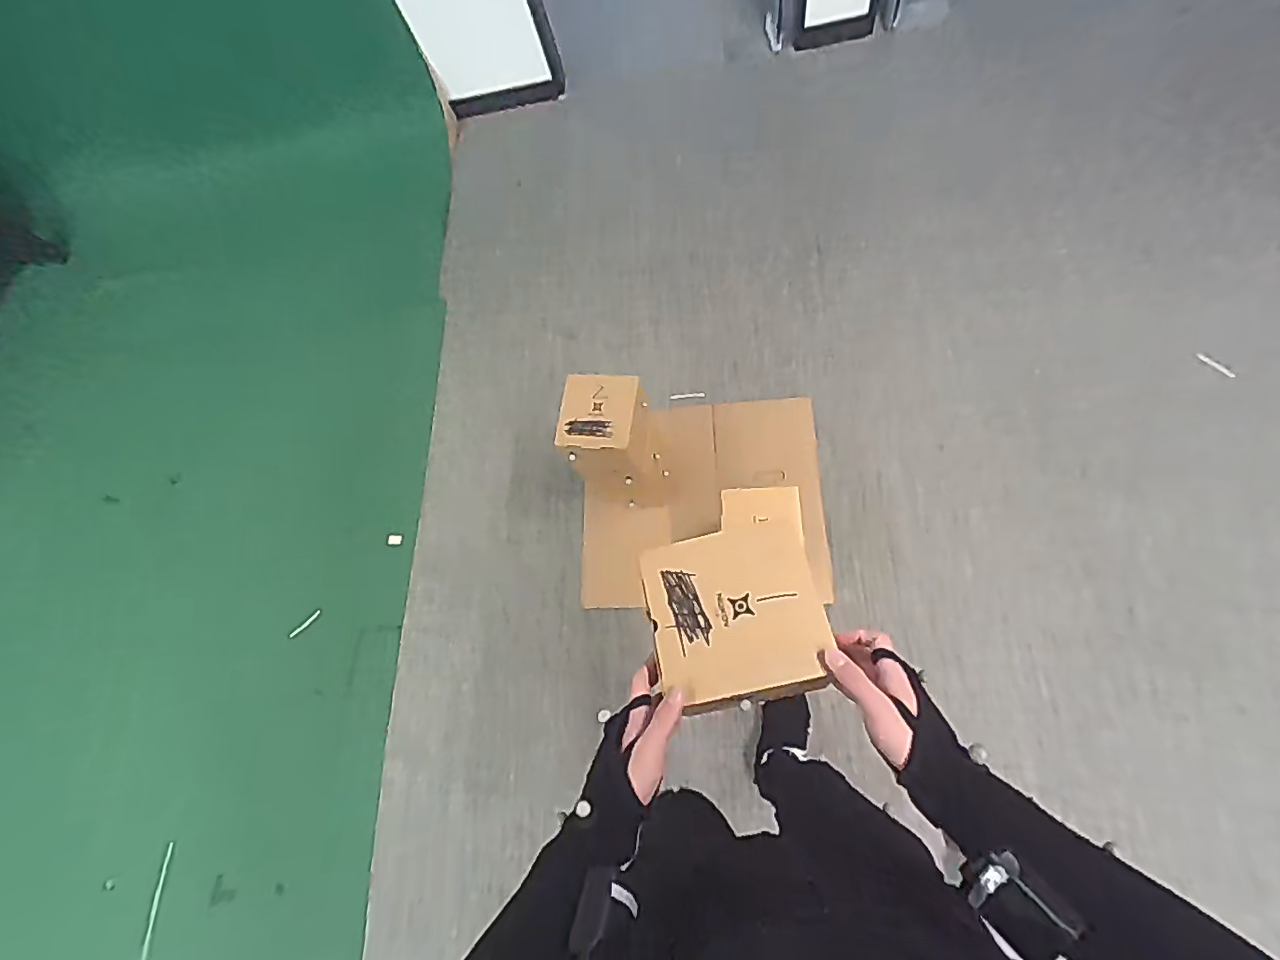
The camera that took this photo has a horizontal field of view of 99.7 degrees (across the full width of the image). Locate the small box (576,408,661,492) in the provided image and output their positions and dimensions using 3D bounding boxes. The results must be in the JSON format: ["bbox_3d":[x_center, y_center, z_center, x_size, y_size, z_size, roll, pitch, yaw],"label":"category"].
[{"bbox_3d":[-0.048,-0.074,1.398,0.179,0.176,0.168,4,72,12],"label":"small box"}]

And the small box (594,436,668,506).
[{"bbox_3d":[-0.021,-0.028,1.555,0.179,0.176,0.168,5,73,12],"label":"small box"}]

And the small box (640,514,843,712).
[{"bbox_3d":[0.111,0.162,0.622,0.179,0.176,0.168,-14,63,5],"label":"small box"}]

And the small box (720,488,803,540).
[{"bbox_3d":[0.284,0.120,1.276,0.179,0.176,0.168,-4,72,11],"label":"small box"}]
